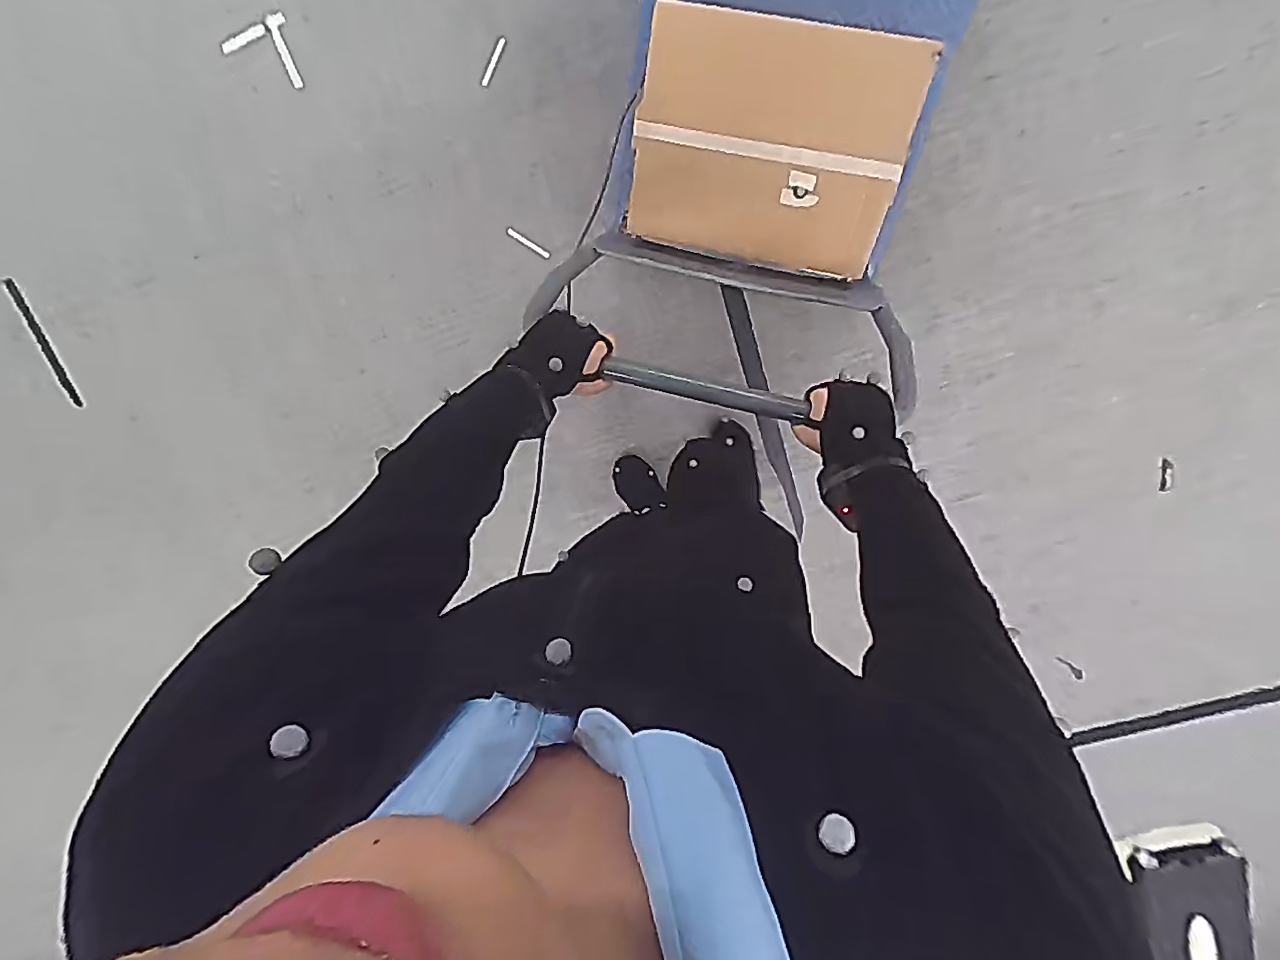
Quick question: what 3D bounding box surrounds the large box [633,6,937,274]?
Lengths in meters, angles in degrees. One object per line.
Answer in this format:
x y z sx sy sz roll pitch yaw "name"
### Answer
0.227 -0.589 0.972 0.408 0.320 0.320 14 122 4 "large box"
